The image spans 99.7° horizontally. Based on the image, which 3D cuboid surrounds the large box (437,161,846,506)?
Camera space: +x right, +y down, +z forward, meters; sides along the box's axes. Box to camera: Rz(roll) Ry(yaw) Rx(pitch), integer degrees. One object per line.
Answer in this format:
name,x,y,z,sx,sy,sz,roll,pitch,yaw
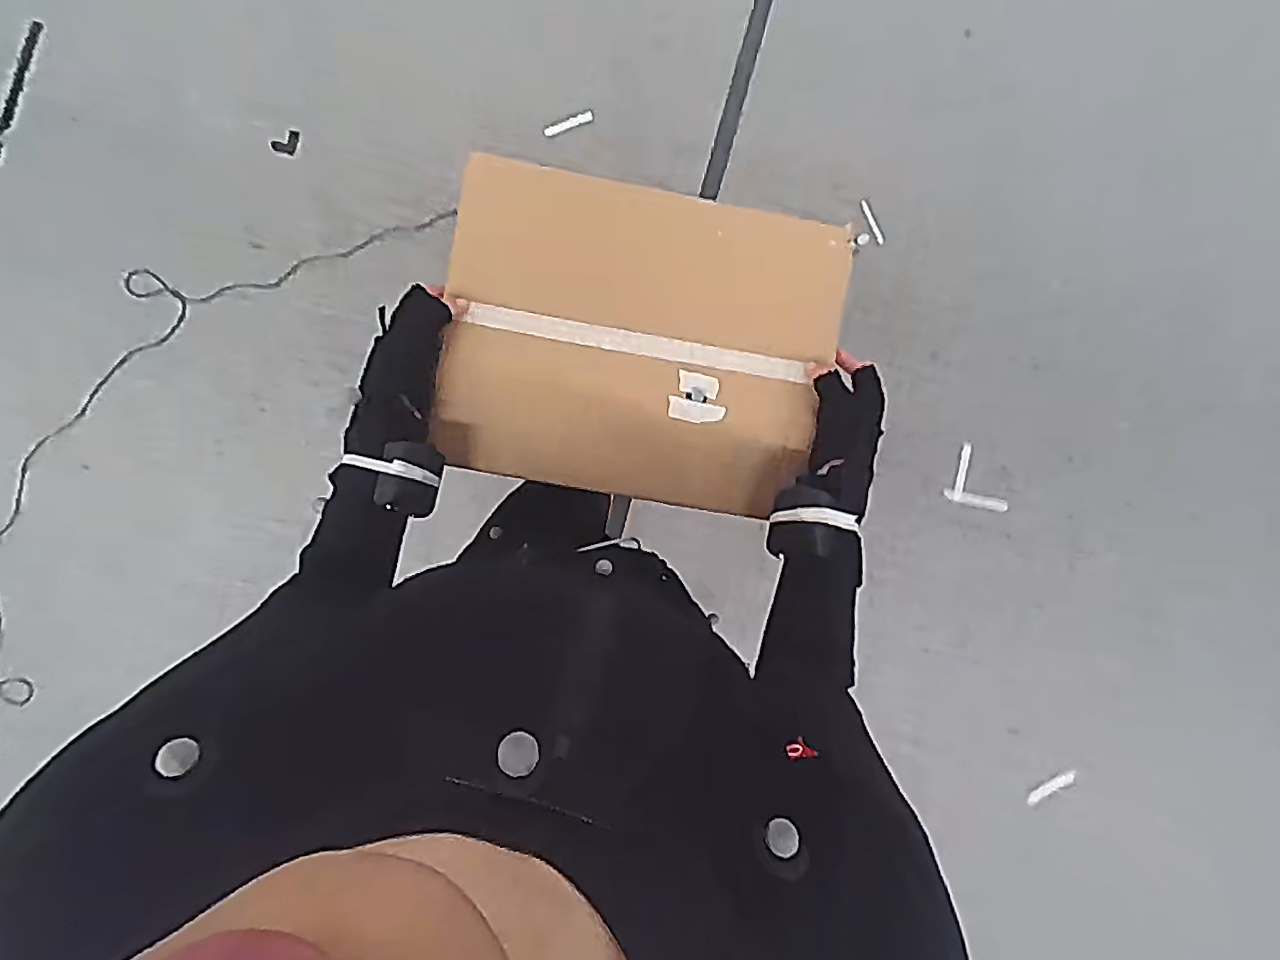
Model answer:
large box,-0.006,-0.156,0.719,0.408,0.320,0.320,9,93,-4
